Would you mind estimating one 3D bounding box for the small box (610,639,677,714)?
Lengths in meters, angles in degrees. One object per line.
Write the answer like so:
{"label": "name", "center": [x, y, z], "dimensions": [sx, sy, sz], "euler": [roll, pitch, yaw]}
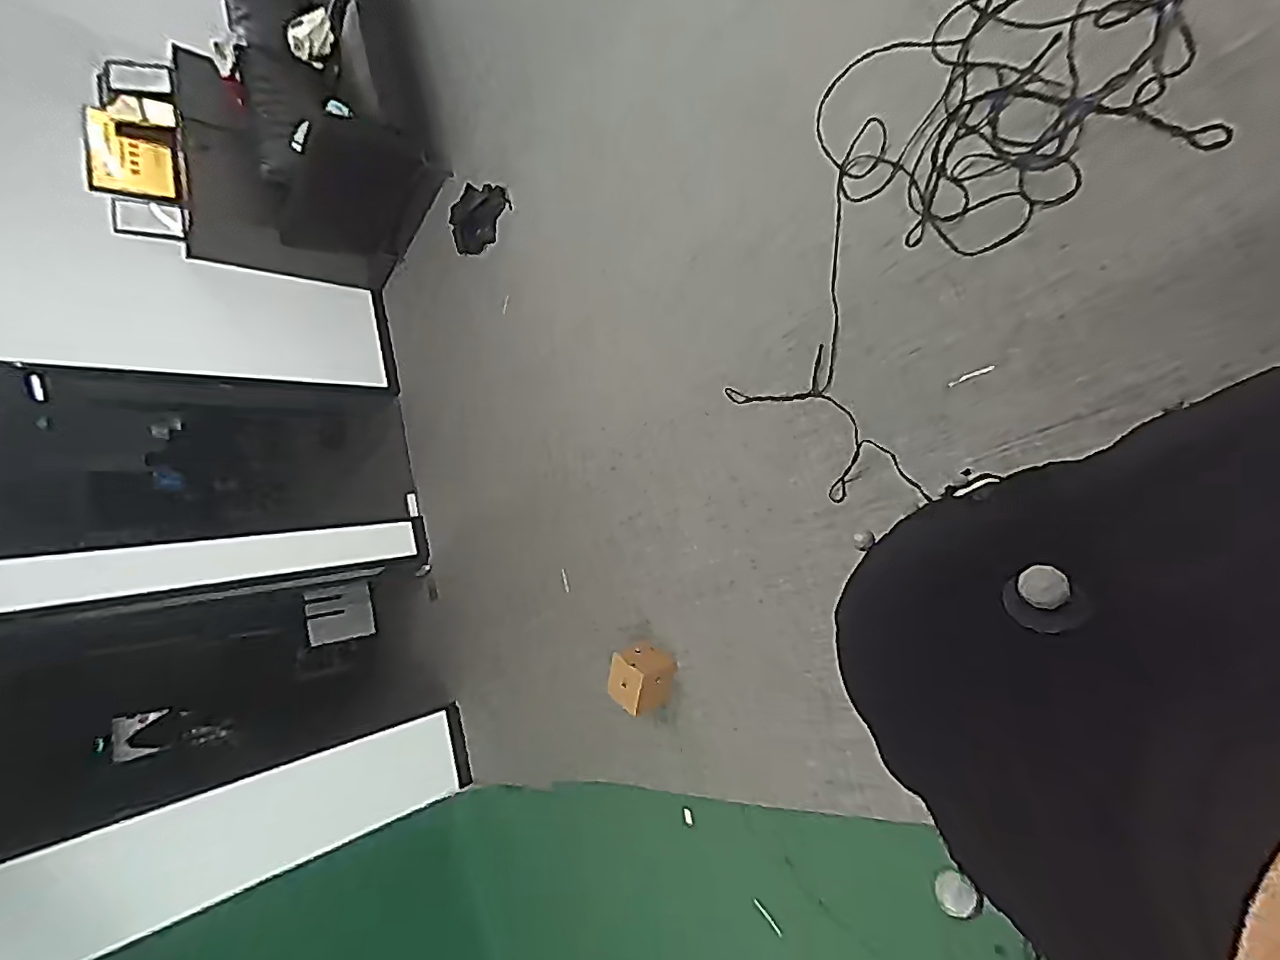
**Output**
{"label": "small box", "center": [0.015, 0.708, 1.973], "dimensions": [0.168, 0.176, 0.179], "euler": [24, 111, 45]}
